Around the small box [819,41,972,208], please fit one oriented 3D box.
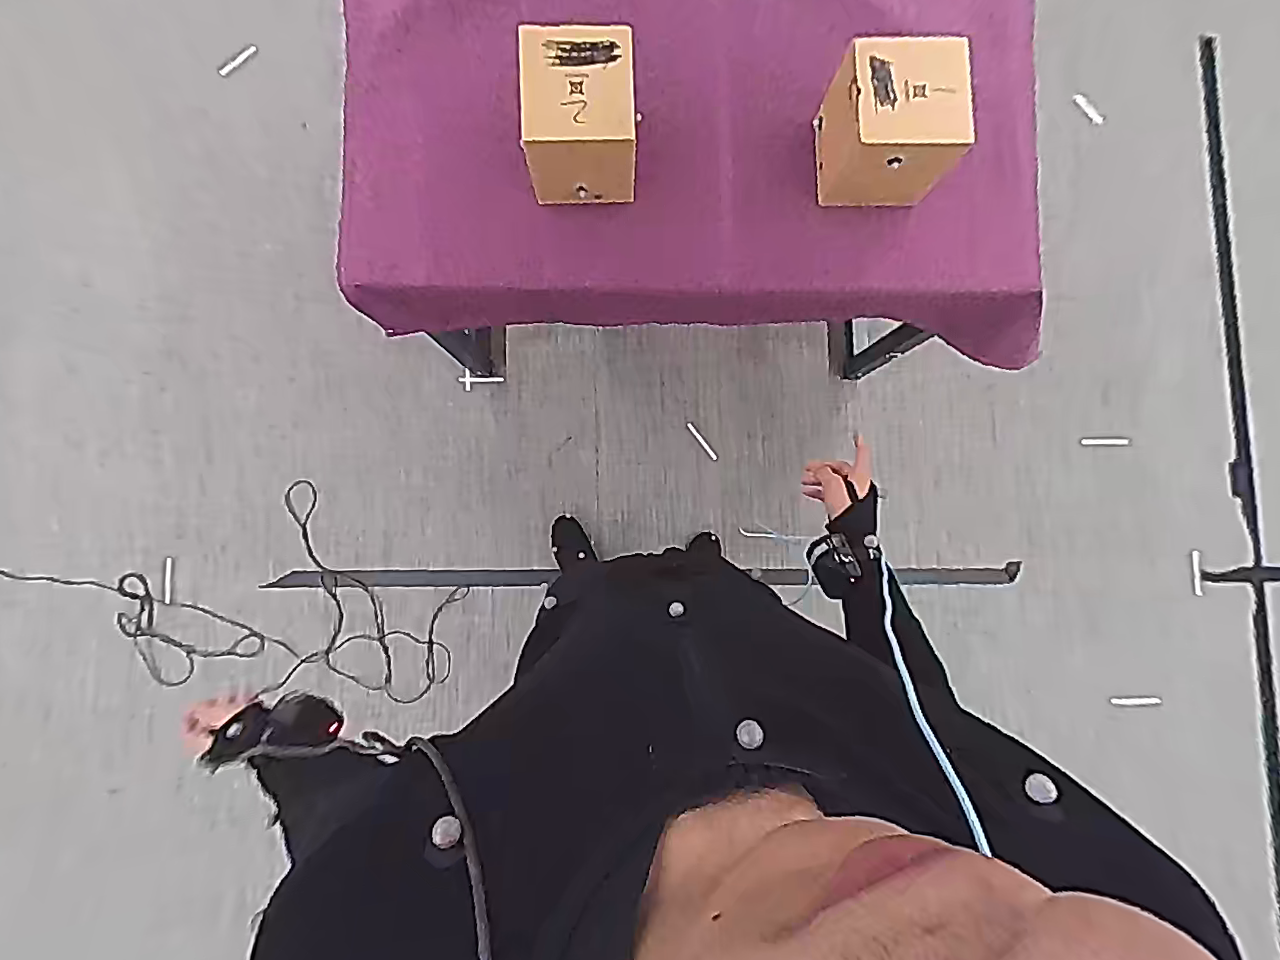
[{"bbox_3d":[0.401,-0.565,0.879,0.179,0.176,0.168,-1,87,-2],"label":"small box"}]
